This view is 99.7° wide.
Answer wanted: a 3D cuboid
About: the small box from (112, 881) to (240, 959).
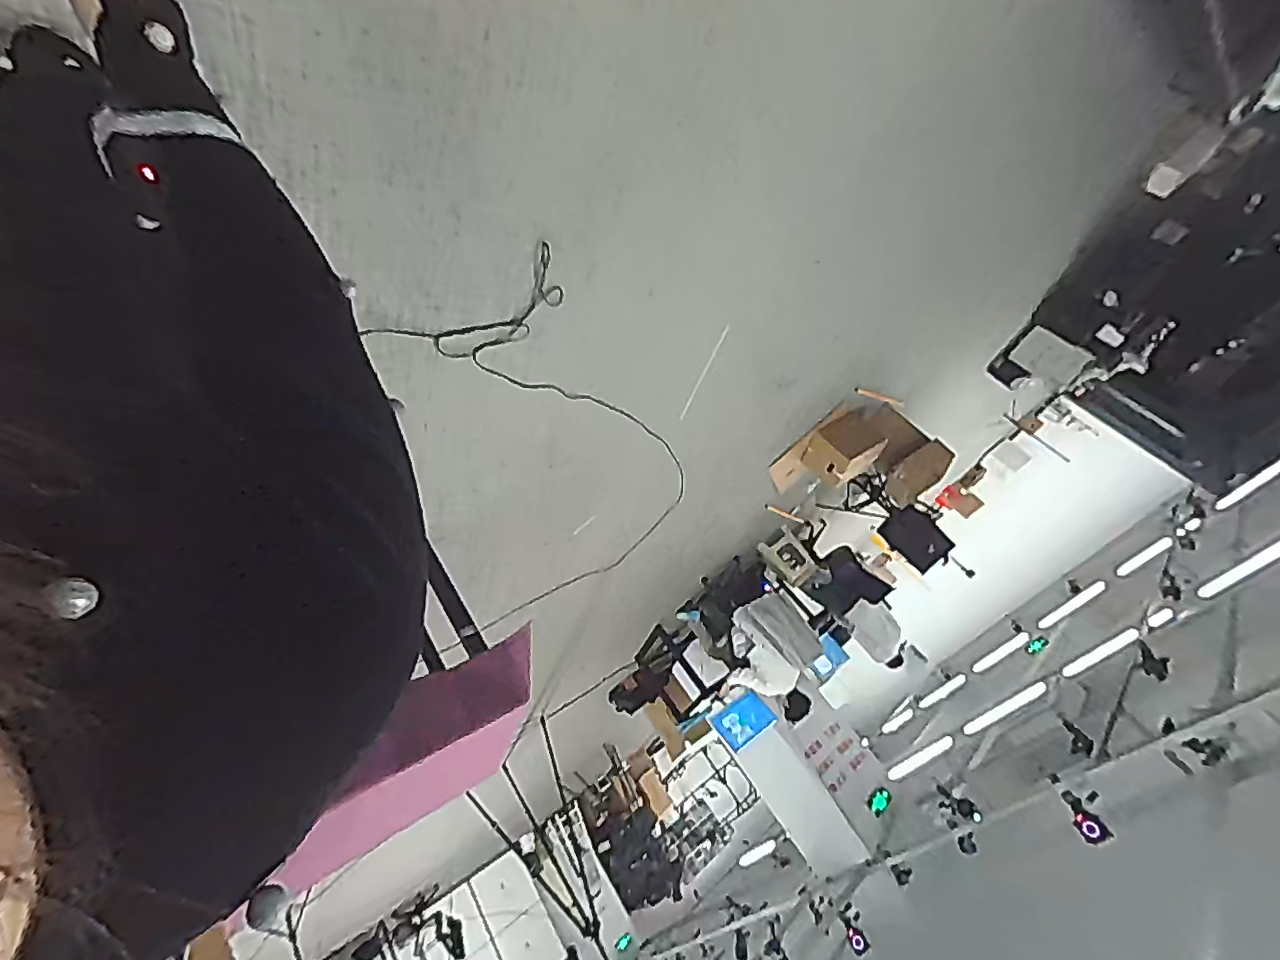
[{"bbox_3d":[-0.964,0.991,1.130,0.179,0.176,0.168,-11,142,-43],"label":"small box"}]
